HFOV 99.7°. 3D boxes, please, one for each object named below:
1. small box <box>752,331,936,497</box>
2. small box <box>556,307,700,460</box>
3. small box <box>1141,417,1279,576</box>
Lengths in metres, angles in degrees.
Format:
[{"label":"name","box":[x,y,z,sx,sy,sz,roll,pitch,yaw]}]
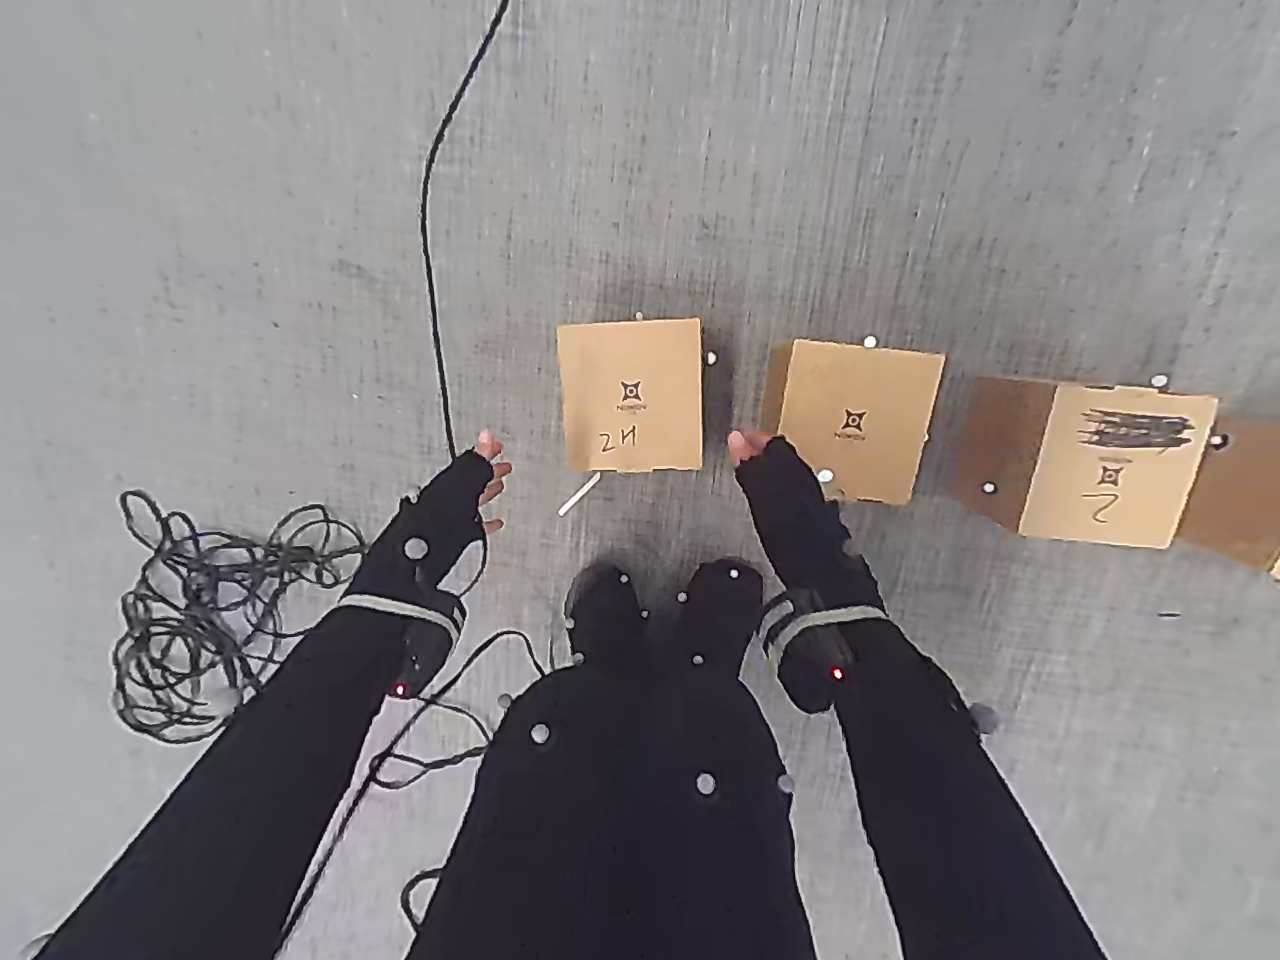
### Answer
[{"label":"small box","box":[0.243,-0.091,0.694,0.168,0.176,0.179,7,104,4]},{"label":"small box","box":[-0.007,-0.126,0.707,0.168,0.176,0.179,0,104,7]},{"label":"small box","box":[0.800,0.029,0.671,0.179,0.176,0.168,21,106,-2]}]
